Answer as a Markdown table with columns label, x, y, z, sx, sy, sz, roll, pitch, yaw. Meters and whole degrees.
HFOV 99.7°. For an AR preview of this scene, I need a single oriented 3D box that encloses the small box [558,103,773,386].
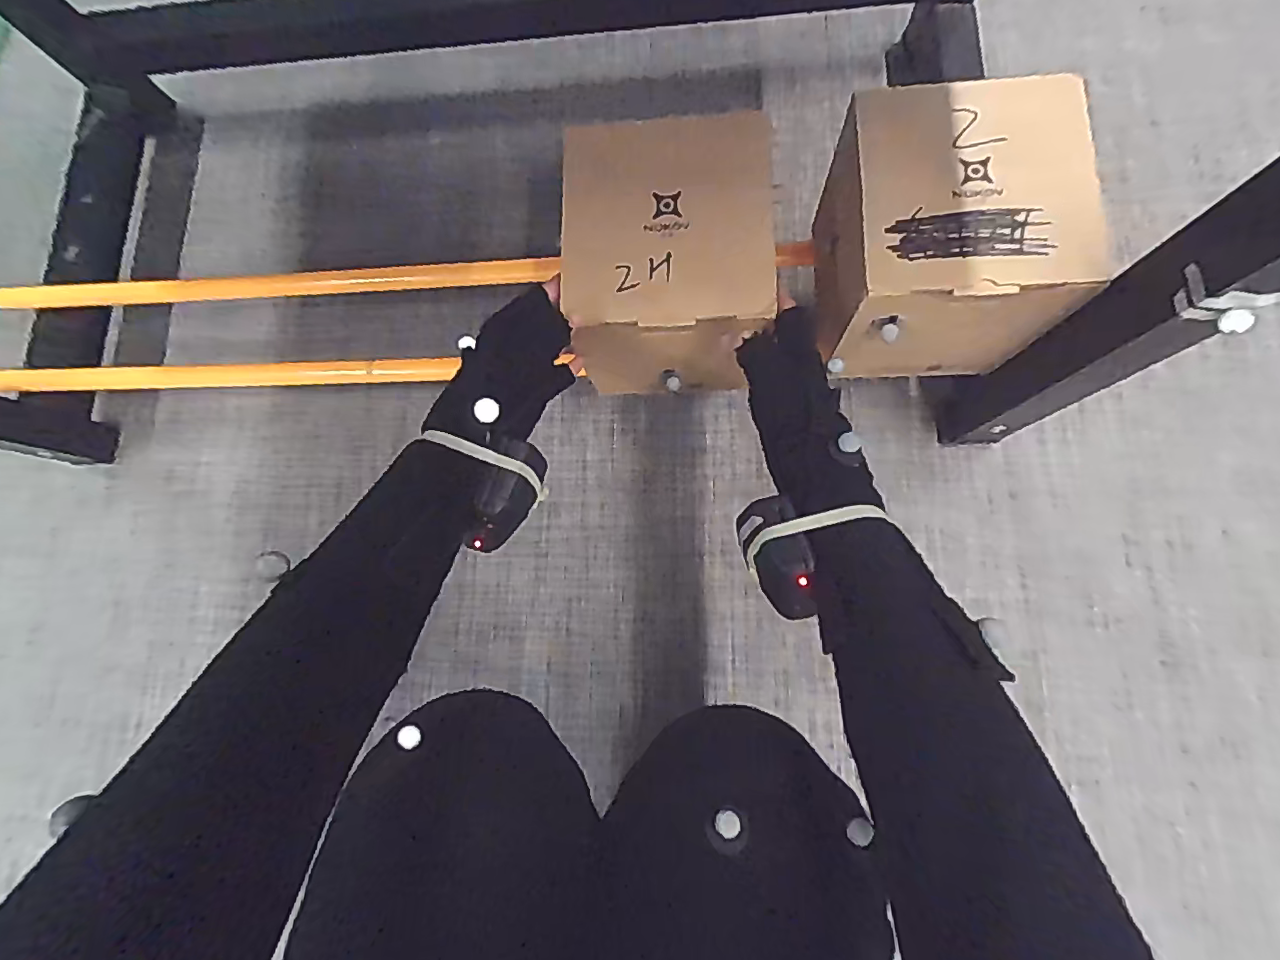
| label | x | y | z | sx | sy | sz | roll | pitch | yaw |
| --- | --- | --- | --- | --- | --- | --- | --- | --- | --- |
| small box | 0.027 | -0.200 | 0.501 | 0.168 | 0.176 | 0.179 | -1 | 80 | 7 |
